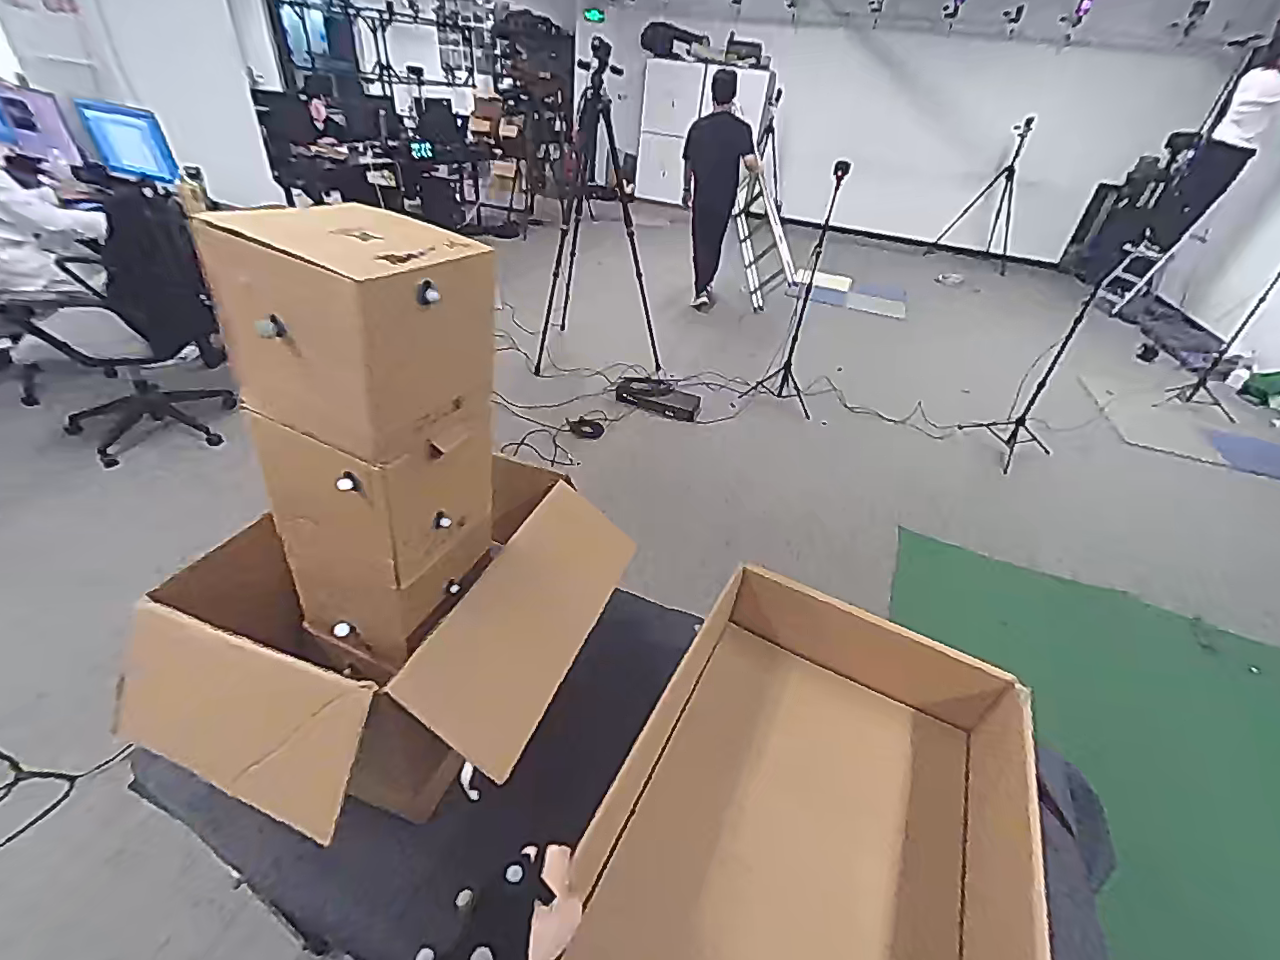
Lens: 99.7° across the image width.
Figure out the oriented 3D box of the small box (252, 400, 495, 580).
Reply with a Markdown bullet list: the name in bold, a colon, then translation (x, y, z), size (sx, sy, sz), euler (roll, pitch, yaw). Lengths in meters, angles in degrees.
- **small box**: translation (-0.288, -0.015, 0.617), size (0.179, 0.176, 0.168), euler (22, 37, 12)

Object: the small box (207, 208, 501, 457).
- **small box**: translation (-0.257, -0.146, 0.523), size (0.179, 0.176, 0.168), euler (23, 37, 13)
